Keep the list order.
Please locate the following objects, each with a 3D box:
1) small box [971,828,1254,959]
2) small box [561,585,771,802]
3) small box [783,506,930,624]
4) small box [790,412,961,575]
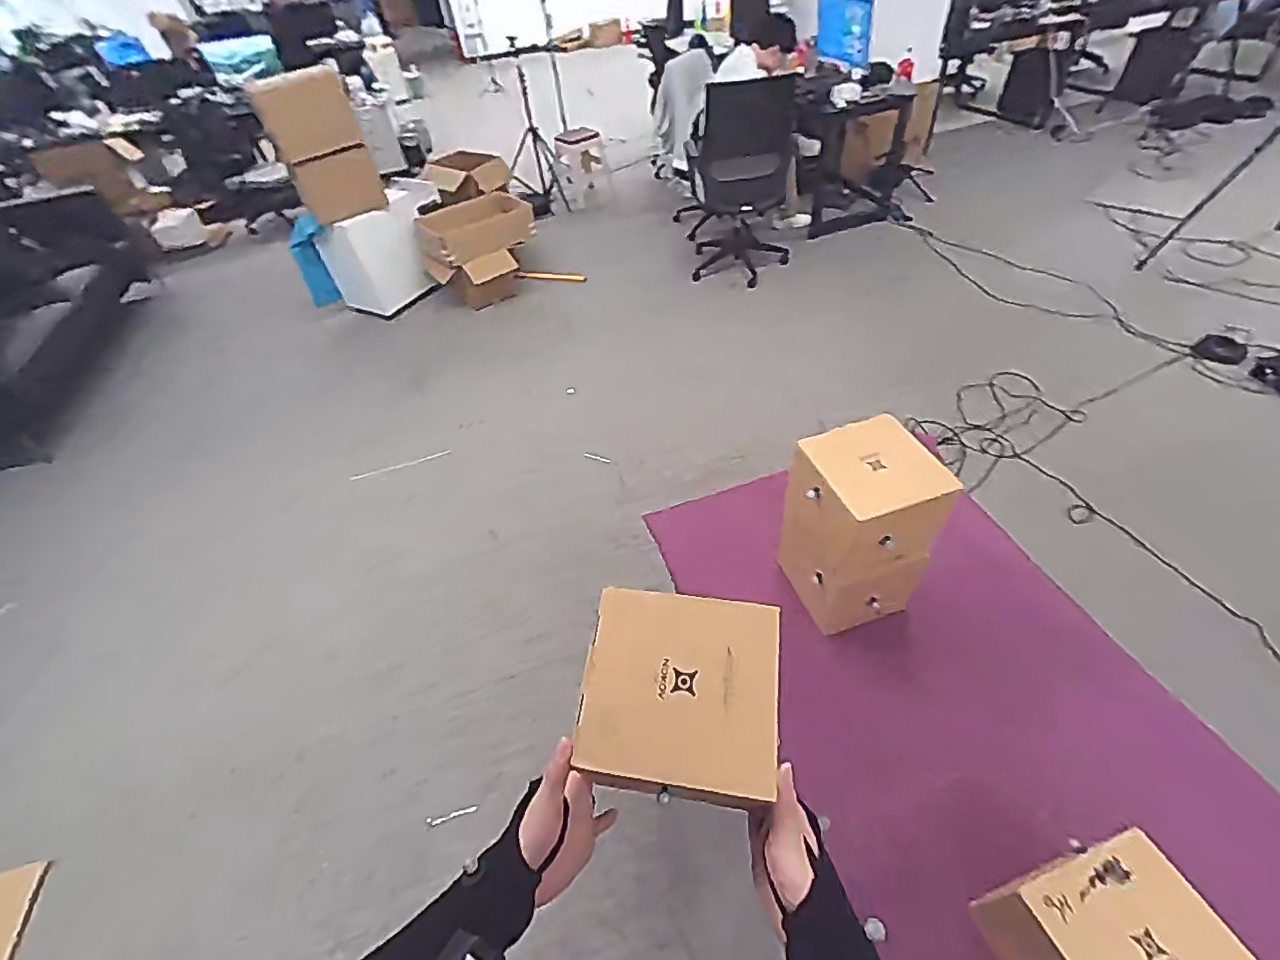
[{"bbox_3d":[0.511,0.518,0.587,0.168,0.176,0.179,-18,47,-9],"label":"small box"},{"bbox_3d":[0.037,0.225,0.560,0.179,0.176,0.168,5,58,10],"label":"small box"},{"bbox_3d":[0.372,0.136,0.965,0.168,0.176,0.179,-16,47,-7],"label":"small box"},{"bbox_3d":[0.352,0.027,0.847,0.168,0.176,0.179,-17,47,-7],"label":"small box"}]
